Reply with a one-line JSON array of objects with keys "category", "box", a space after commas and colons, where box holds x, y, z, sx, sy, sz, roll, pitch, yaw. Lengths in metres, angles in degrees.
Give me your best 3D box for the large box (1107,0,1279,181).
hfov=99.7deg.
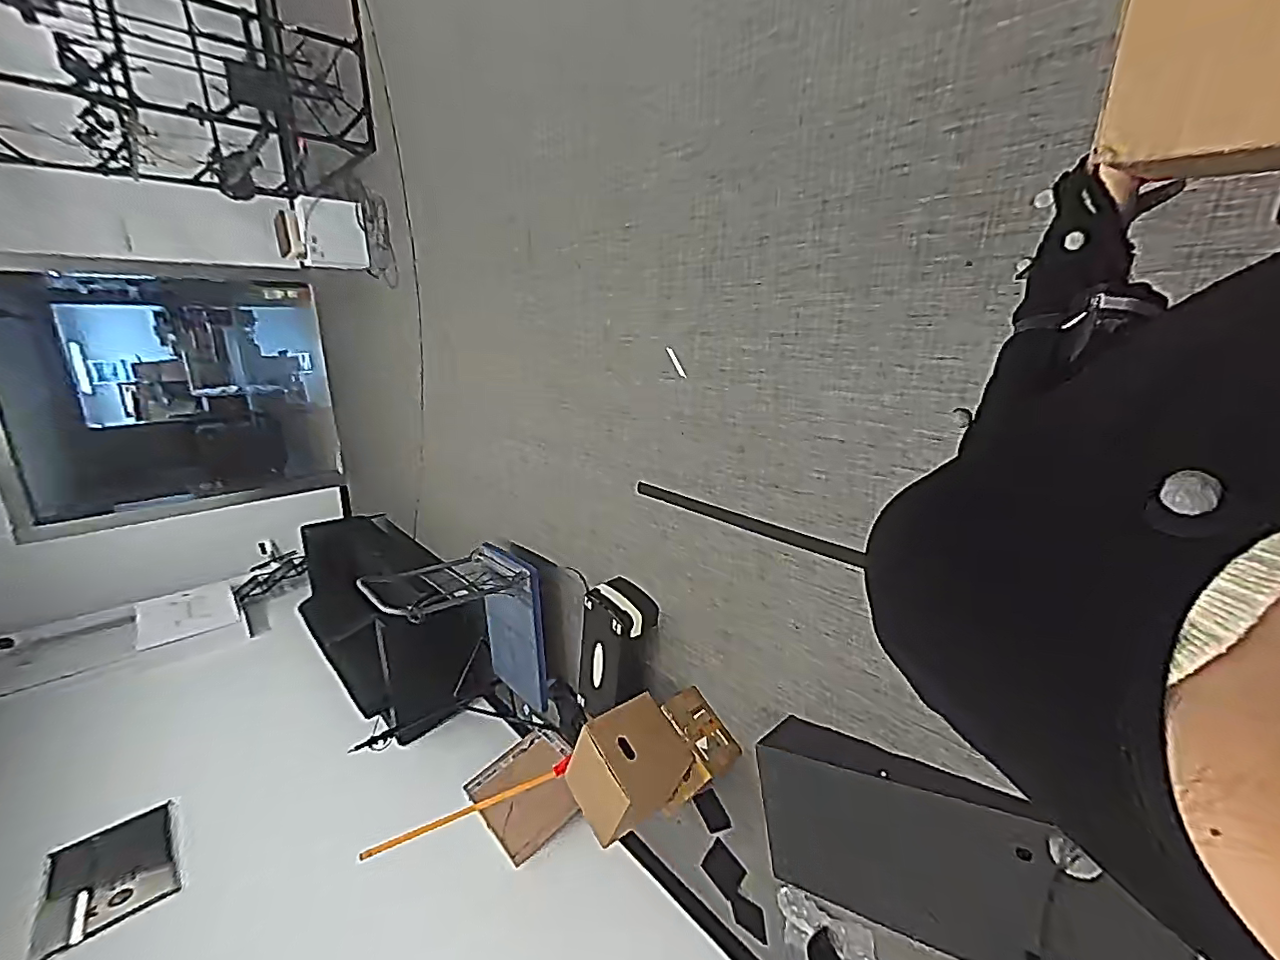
[{"category": "large box", "box": [0.446, -0.297, 0.164, 0.408, 0.320, 0.320, 17, 122, 40]}]
